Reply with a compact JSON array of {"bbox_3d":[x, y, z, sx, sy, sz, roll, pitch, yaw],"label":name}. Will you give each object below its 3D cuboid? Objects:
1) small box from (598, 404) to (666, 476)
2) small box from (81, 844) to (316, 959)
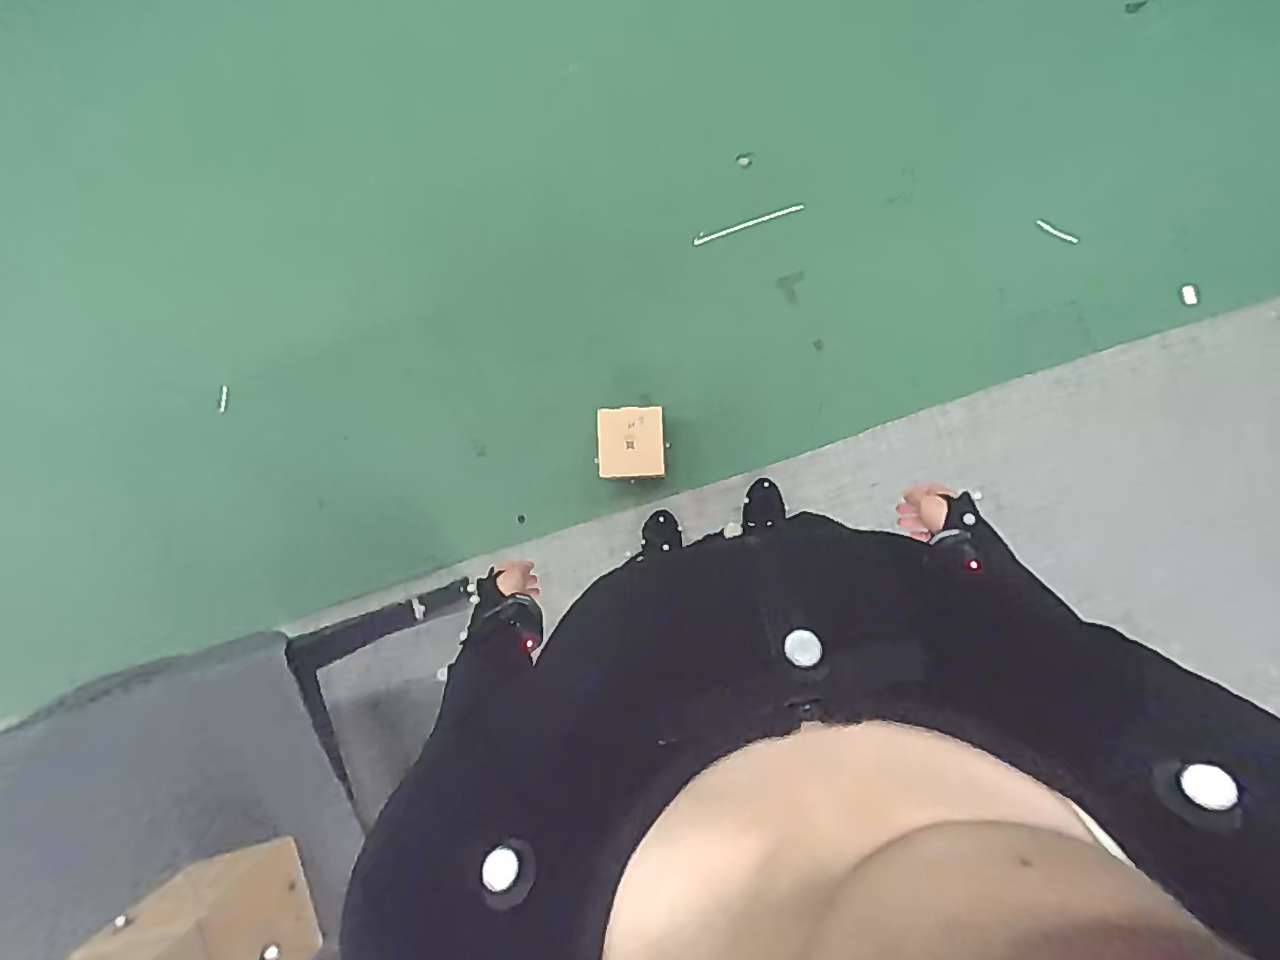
[{"bbox_3d":[-0.018,-0.098,1.420,0.168,0.176,0.179,-2,88,3],"label":"small box"},{"bbox_3d":[-0.565,0.625,0.711,0.179,0.176,0.168,-19,88,5],"label":"small box"}]
